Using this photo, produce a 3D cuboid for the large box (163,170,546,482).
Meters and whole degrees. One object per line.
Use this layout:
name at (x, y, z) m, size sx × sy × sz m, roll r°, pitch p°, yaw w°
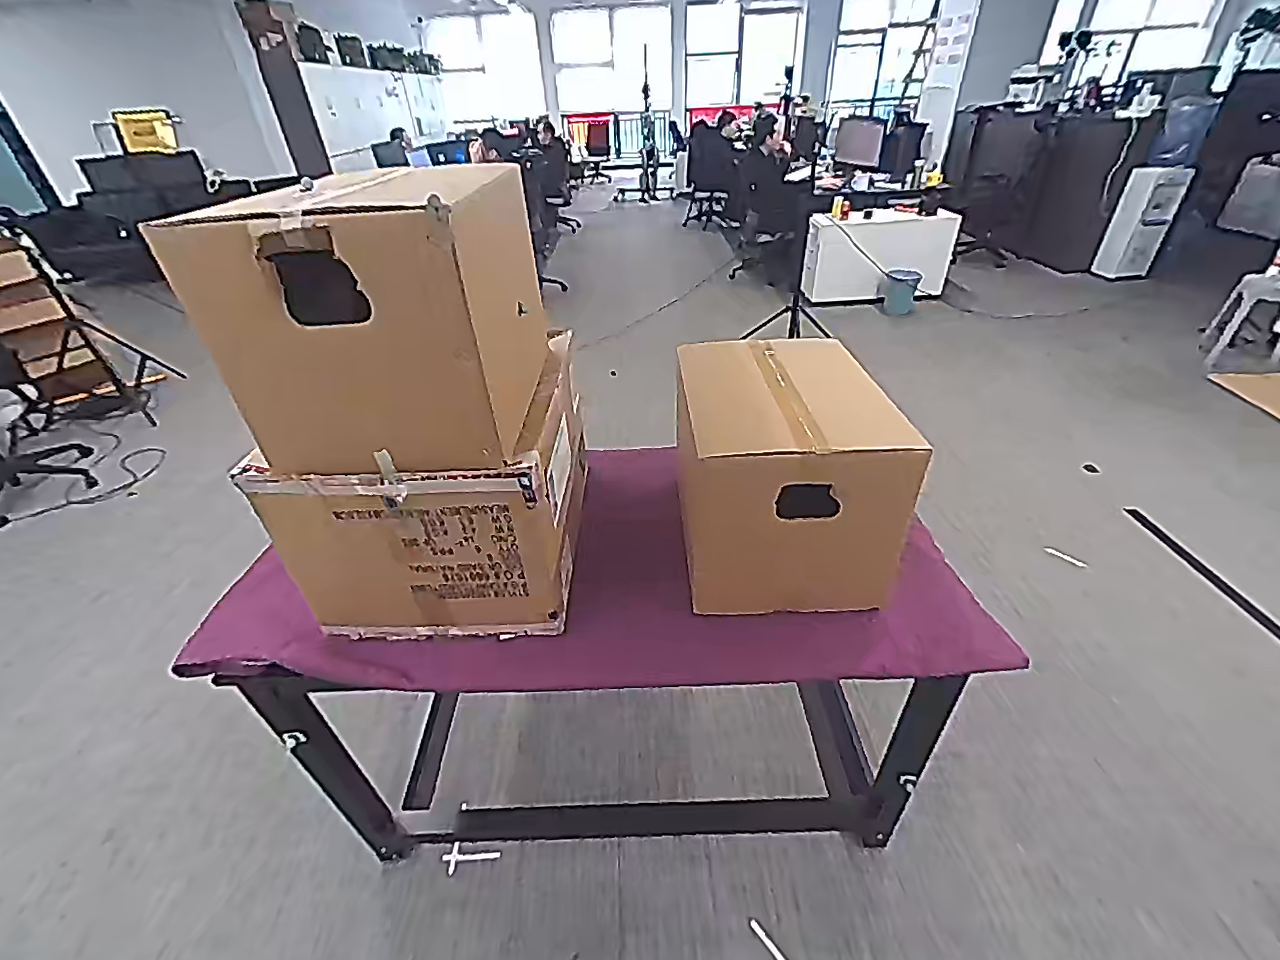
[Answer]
large box at (-0.325, -0.243, 0.781) m, size 0.320 × 0.320 × 0.408 m, roll -4°, pitch 36°, yaw 1°
